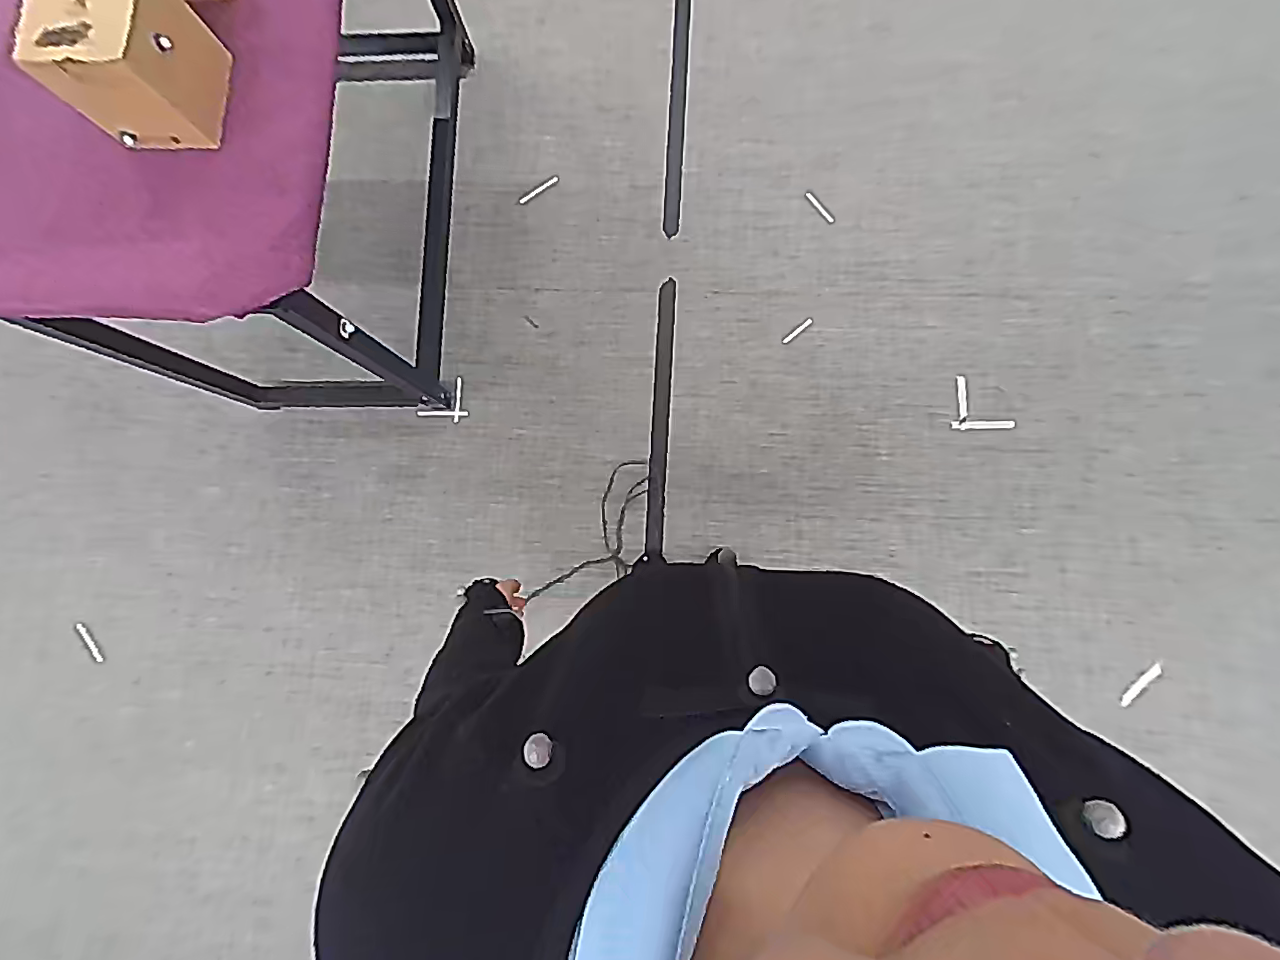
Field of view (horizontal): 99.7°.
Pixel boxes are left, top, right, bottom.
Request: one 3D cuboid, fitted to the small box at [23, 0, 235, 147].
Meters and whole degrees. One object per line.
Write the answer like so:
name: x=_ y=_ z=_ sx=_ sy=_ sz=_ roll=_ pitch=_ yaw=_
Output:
small box: x=-0.780 y=-0.656 z=0.846 sx=0.168 sy=0.176 sz=0.179 roll=2 pitch=82 yaw=2
